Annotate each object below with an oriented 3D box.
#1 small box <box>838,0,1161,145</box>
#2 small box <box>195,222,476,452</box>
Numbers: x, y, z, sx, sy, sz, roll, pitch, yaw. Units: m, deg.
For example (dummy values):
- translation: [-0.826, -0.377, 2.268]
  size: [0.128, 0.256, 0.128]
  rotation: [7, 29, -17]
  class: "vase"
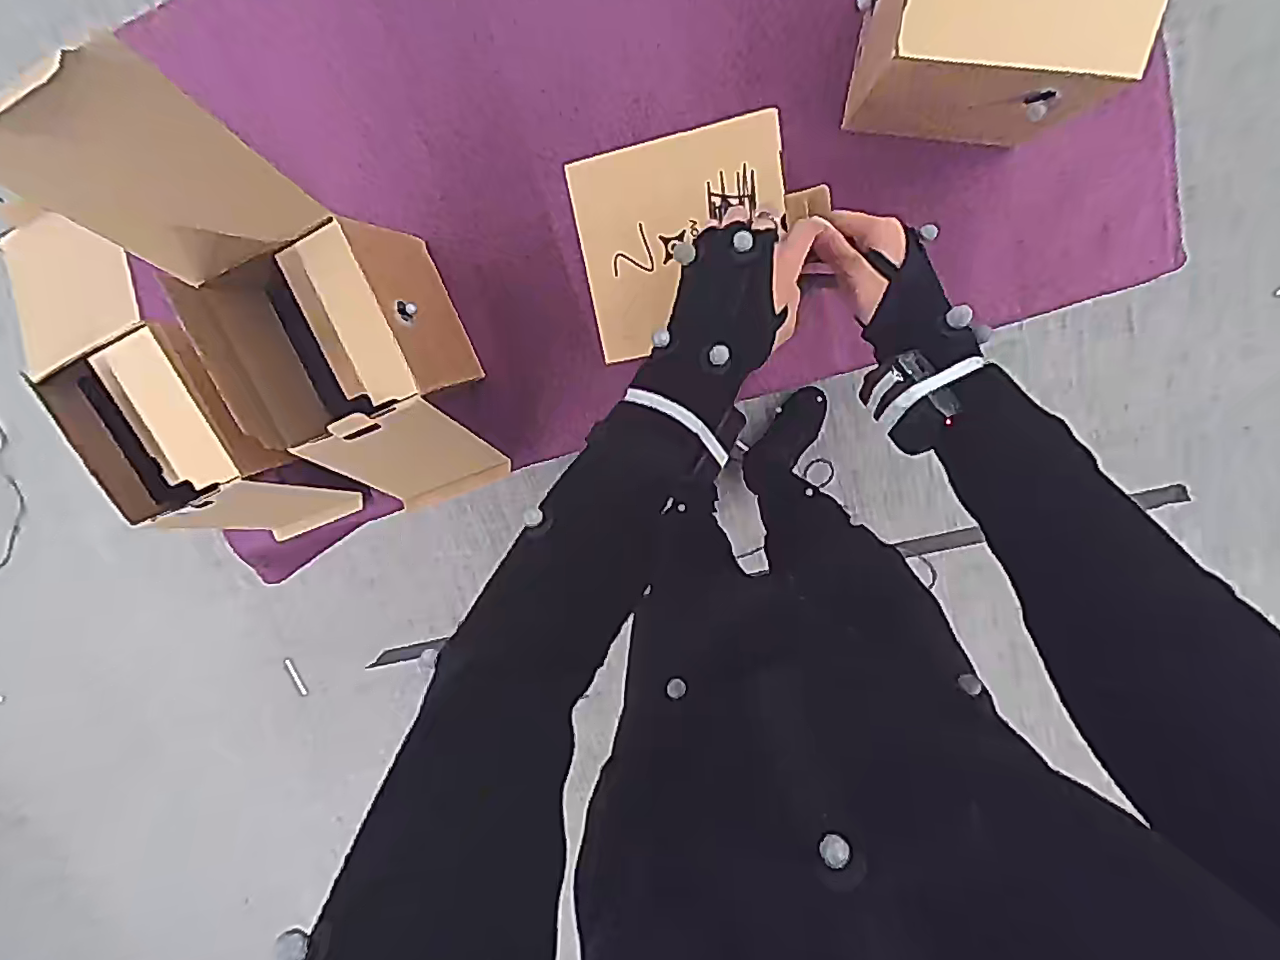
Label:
- translation: [0.283, -0.394, 0.441]
  size: [0.179, 0.176, 0.168]
  rotation: [9, 108, 5]
  class: "small box"
- translation: [-0.310, -0.154, 0.594]
  size: [0.168, 0.176, 0.179]
  rotation: [-19, 104, 12]
  class: "small box"
